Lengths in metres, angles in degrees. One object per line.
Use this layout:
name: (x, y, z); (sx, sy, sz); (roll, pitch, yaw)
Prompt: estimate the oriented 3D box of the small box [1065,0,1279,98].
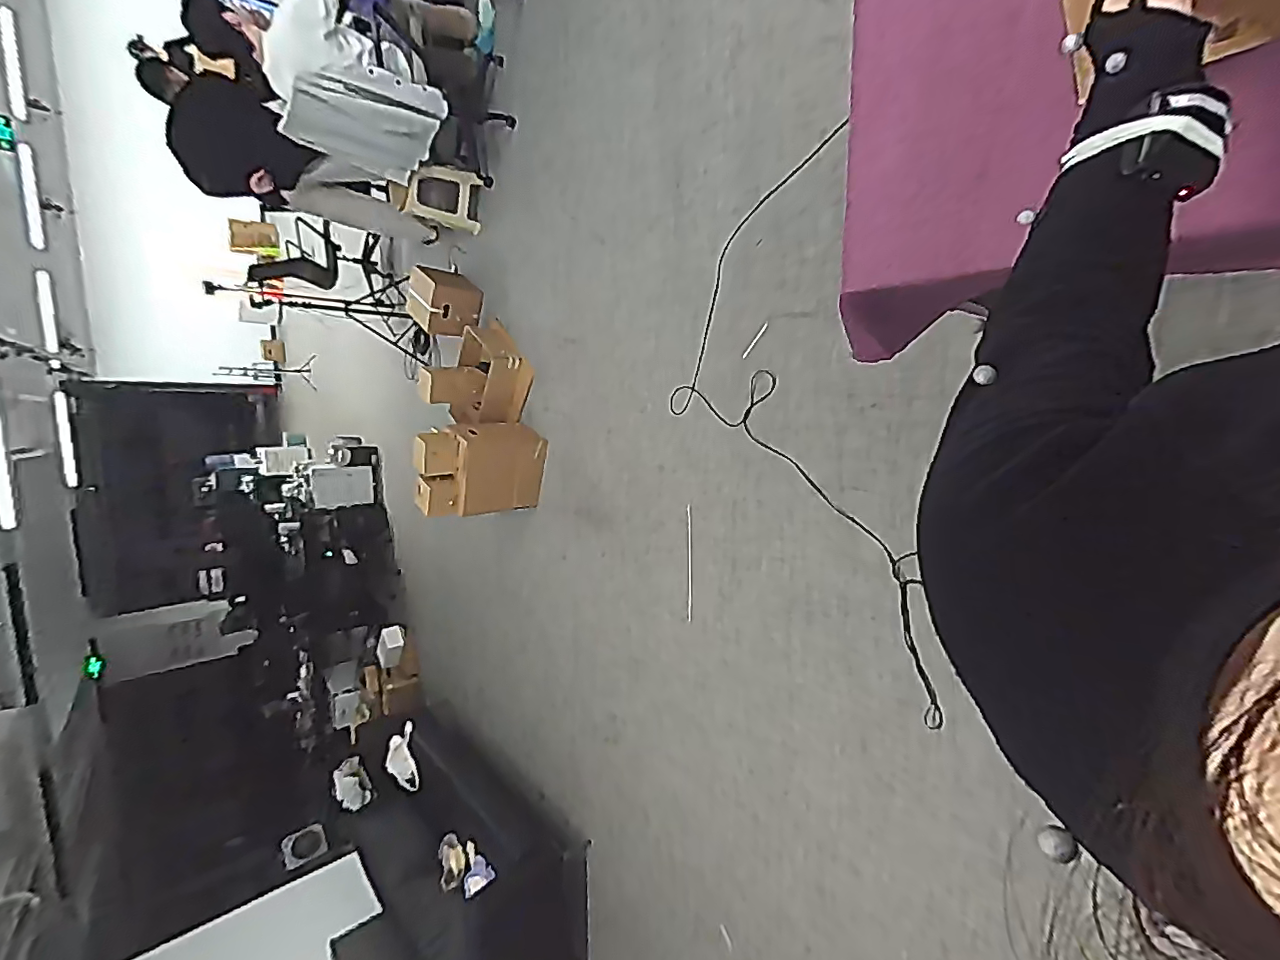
small box: (0.491, -0.498, 0.477); (0.168, 0.176, 0.179); (8, 75, 46)
